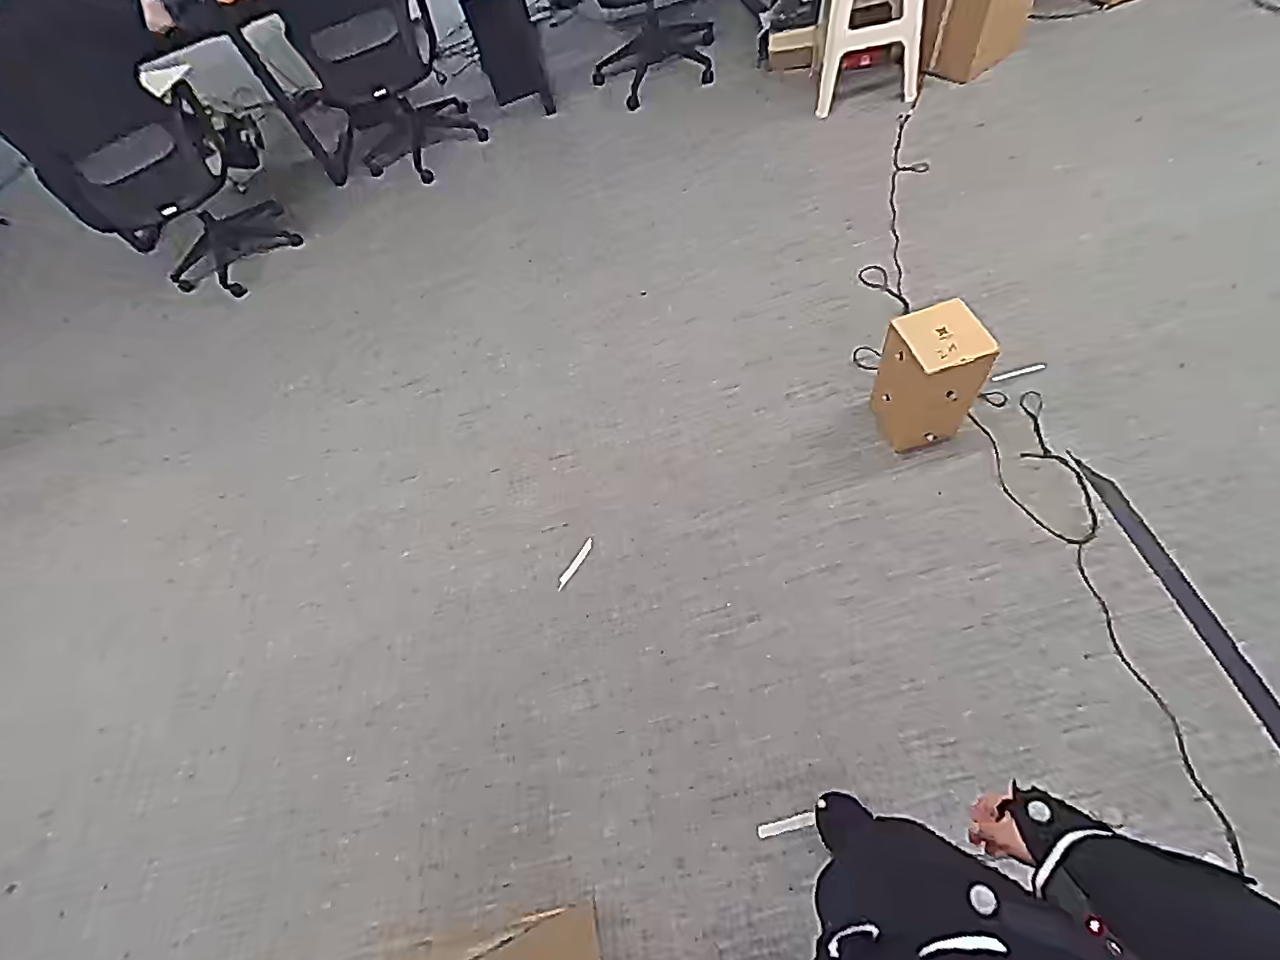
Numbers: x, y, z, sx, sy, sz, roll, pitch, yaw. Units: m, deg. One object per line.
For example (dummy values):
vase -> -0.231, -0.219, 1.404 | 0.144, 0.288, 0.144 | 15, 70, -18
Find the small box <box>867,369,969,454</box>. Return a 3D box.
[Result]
small box -> 0.718, -0.198, 1.421 | 0.168, 0.176, 0.179 | -16, 59, 4

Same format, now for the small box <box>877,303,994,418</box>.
small box -> 0.686, -0.278, 1.281 | 0.168, 0.176, 0.179 | -18, 59, 4
